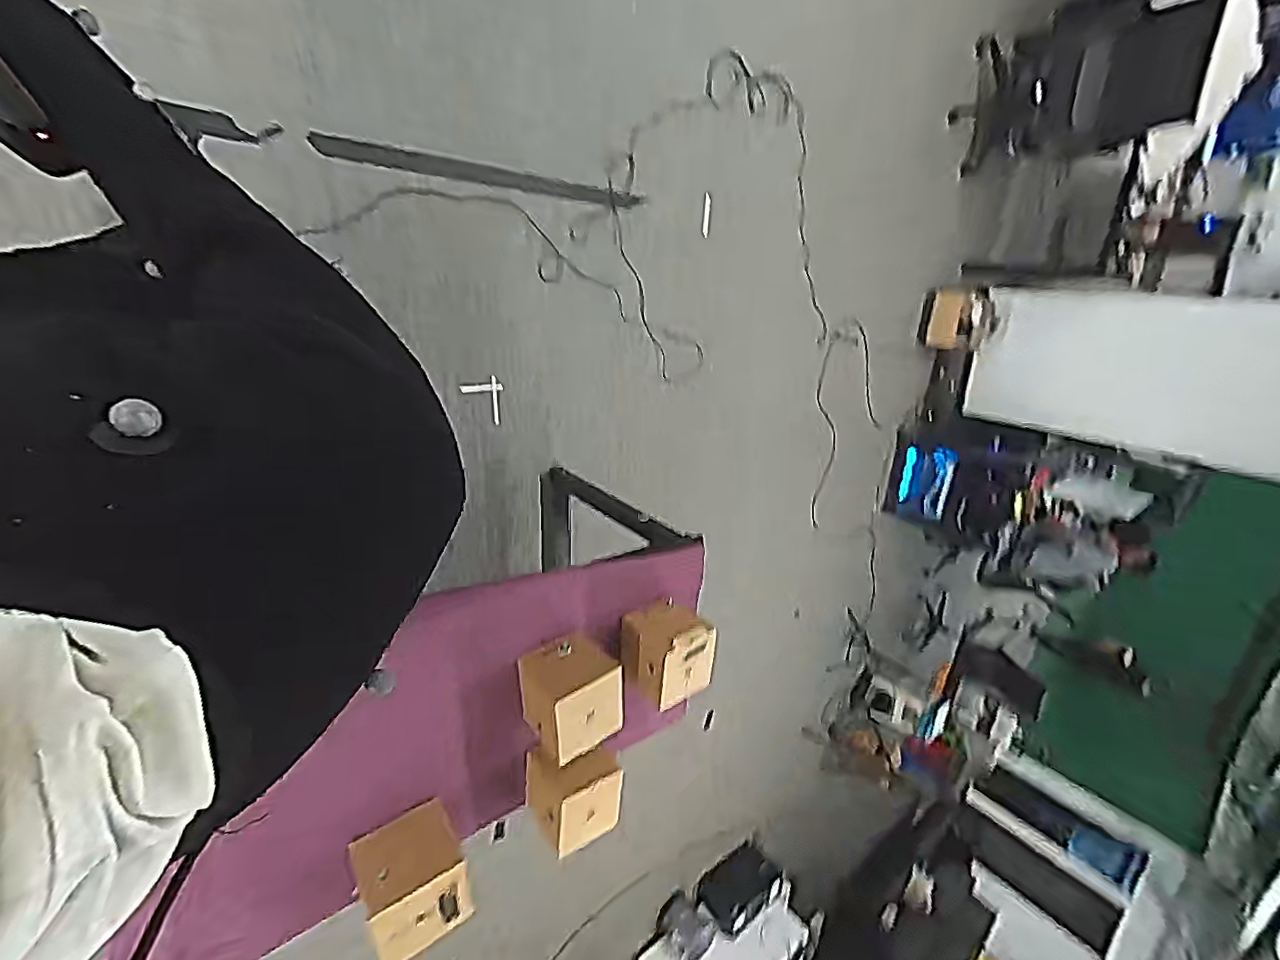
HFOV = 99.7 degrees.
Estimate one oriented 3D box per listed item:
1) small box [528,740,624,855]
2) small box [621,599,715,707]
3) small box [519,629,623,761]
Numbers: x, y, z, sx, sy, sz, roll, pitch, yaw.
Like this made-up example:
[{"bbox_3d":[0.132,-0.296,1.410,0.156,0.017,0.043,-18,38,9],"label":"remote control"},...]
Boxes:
[{"bbox_3d":[-0.158,0.731,1.296,0.168,0.176,0.179,-9,113,-36],"label":"small box"},{"bbox_3d":[0.066,0.419,1.356,0.168,0.176,0.179,-14,118,-35],"label":"small box"},{"bbox_3d":[-0.152,0.466,1.196,0.168,0.176,0.179,-18,119,-35],"label":"small box"}]
